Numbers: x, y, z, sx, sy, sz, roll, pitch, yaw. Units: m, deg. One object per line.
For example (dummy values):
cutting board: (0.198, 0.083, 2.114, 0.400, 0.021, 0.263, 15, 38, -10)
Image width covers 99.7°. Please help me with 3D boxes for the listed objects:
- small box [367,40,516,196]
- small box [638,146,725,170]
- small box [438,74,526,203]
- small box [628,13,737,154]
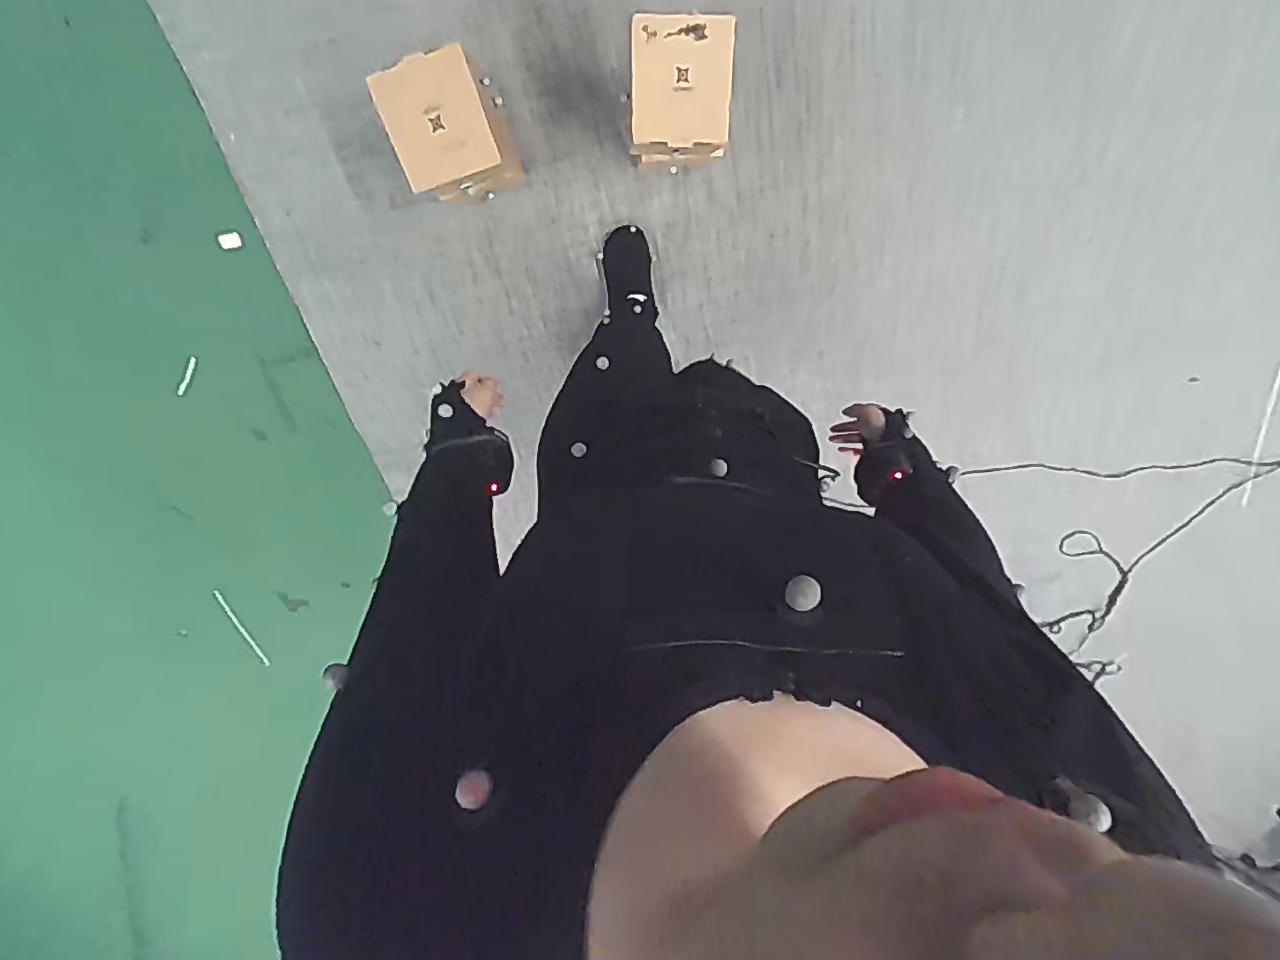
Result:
small box: (-0.334, -0.620, 0.951, 0.168, 0.176, 0.179, -17, 115, 5)
small box: (0.077, -0.742, 1.097, 0.168, 0.176, 0.179, -5, 116, -1)
small box: (-0.347, -0.684, 1.099, 0.168, 0.176, 0.179, -17, 115, 5)
small box: (0.065, -0.678, 0.945, 0.168, 0.176, 0.179, -1, 116, -3)
